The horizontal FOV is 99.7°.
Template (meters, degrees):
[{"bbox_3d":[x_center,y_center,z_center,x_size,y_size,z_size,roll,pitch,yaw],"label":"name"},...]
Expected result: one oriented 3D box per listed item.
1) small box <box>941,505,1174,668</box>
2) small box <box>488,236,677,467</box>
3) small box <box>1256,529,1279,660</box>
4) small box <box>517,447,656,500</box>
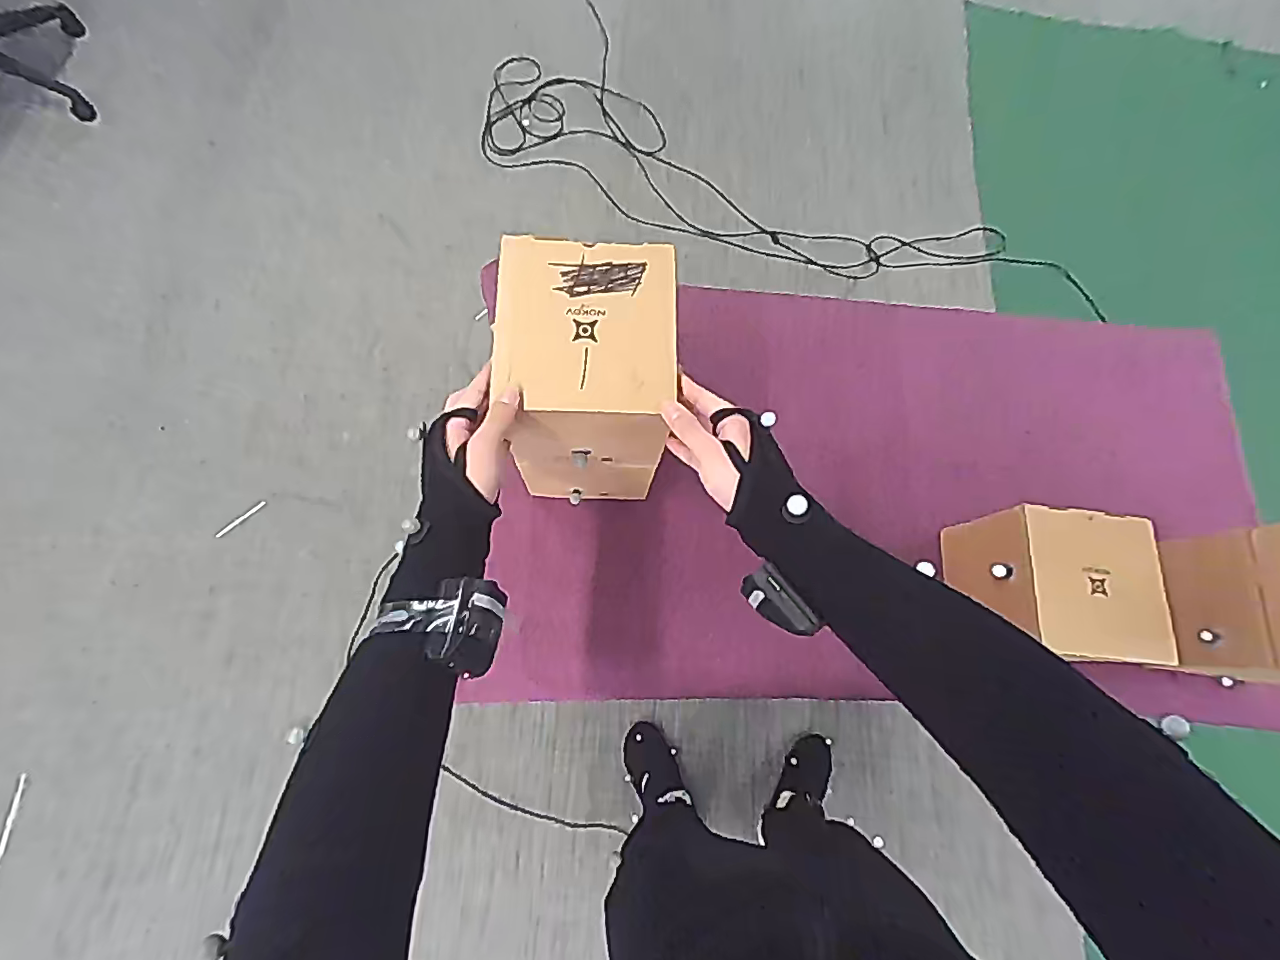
[{"bbox_3d":[0.527,0.146,0.712,0.168,0.176,0.179,6,72,-3],"label":"small box"},{"bbox_3d":[-0.054,-0.122,0.567,0.168,0.176,0.179,2,77,-4],"label":"small box"},{"bbox_3d":[0.821,0.131,0.566,0.168,0.176,0.179,8,72,-1],"label":"small box"},{"bbox_3d":[-0.067,-0.078,0.727,0.168,0.176,0.179,1,76,-4],"label":"small box"}]
